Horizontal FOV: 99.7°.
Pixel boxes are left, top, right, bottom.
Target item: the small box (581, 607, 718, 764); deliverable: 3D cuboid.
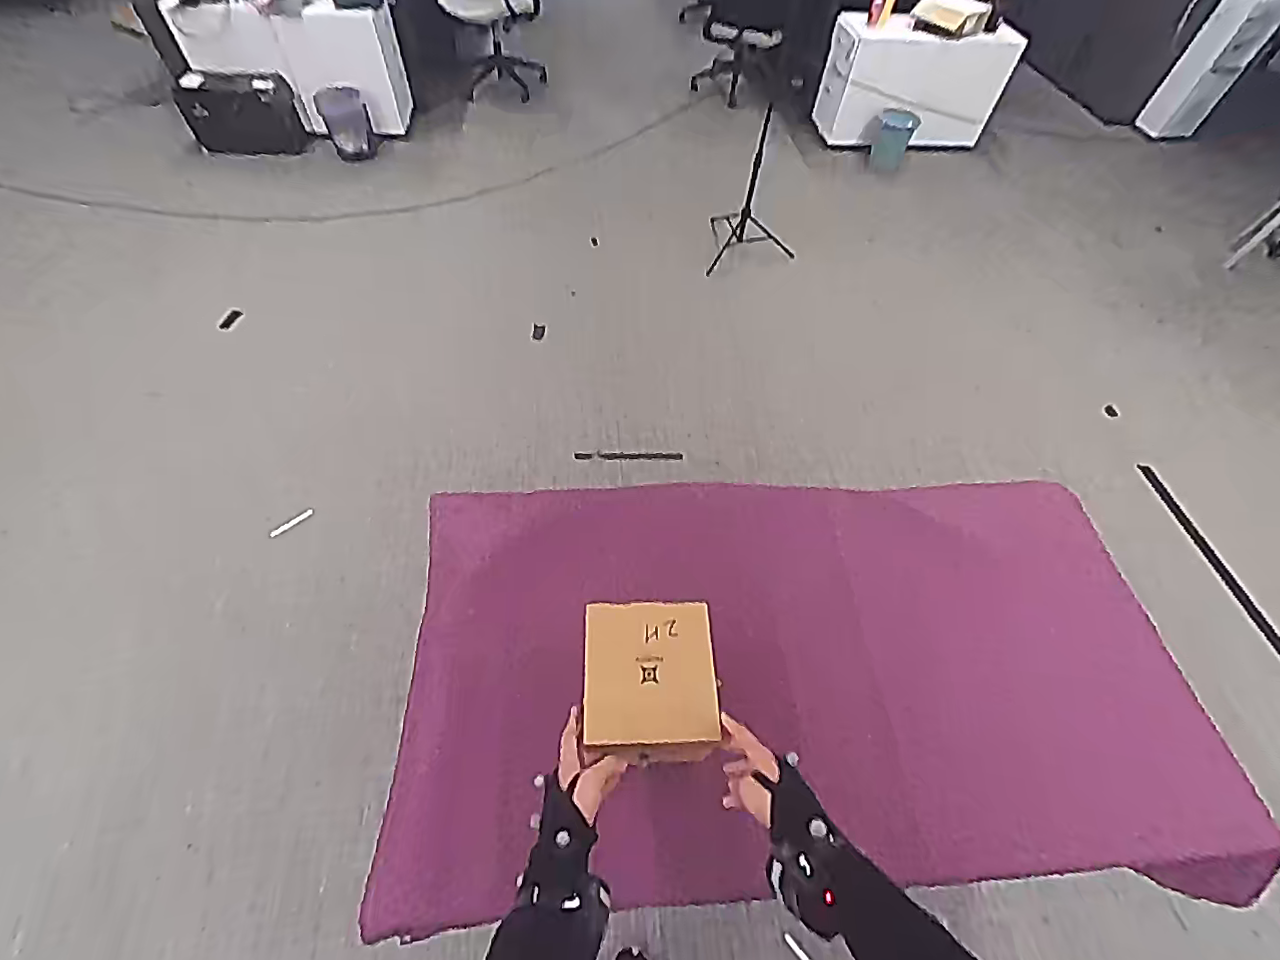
[{"bbox_3d":[0.007,0.289,0.748,0.168,0.176,0.179,1,55,-4],"label":"small box"}]
